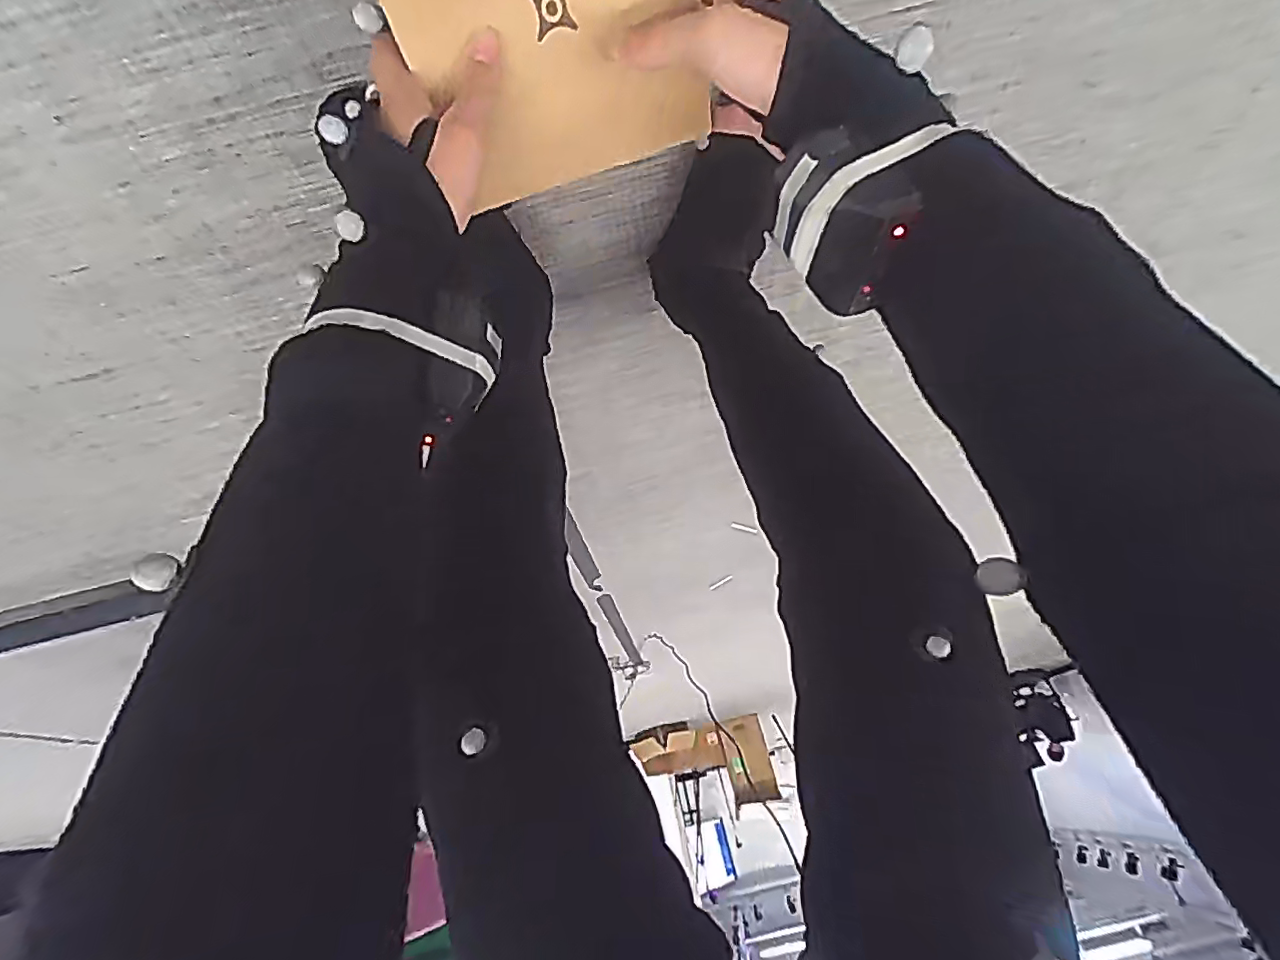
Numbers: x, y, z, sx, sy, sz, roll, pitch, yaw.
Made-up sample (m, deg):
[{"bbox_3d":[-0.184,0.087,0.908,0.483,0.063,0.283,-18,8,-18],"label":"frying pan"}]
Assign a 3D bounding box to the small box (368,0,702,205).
[{"bbox_3d":[-0.075,-0.306,0.328,0.168,0.176,0.179,-21,138,-4],"label":"small box"}]
